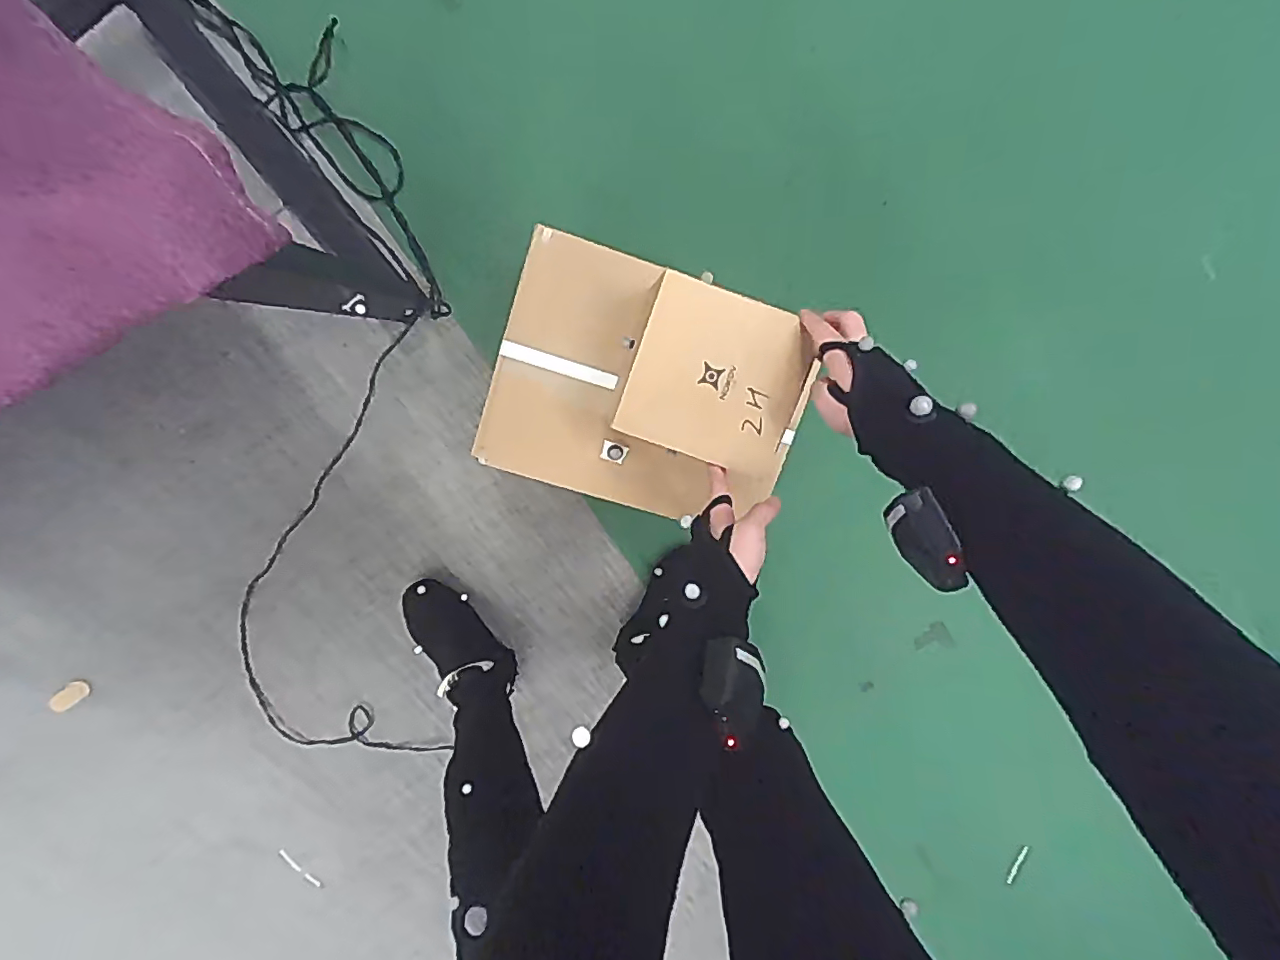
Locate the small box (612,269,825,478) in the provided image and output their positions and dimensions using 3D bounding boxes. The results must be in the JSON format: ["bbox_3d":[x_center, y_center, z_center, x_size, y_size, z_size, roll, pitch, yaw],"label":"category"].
[{"bbox_3d":[0.073,-0.120,0.624,0.179,0.176,0.168,19,101,-9],"label":"small box"}]
